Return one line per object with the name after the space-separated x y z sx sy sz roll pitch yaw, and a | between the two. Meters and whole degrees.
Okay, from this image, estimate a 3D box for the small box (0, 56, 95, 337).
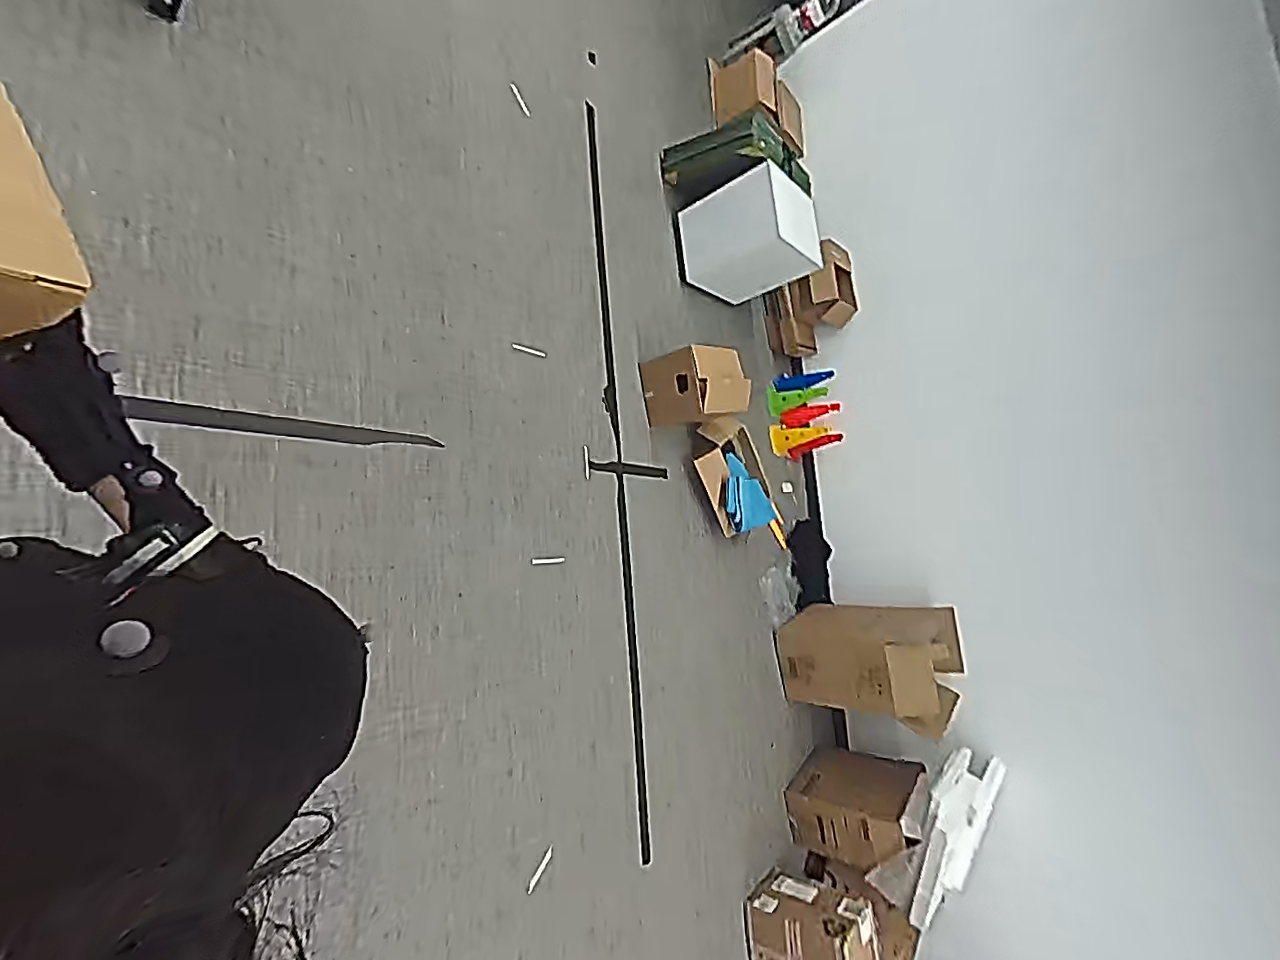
-0.486 -0.172 0.303 0.179 0.176 0.168 65 11 2 | small box
